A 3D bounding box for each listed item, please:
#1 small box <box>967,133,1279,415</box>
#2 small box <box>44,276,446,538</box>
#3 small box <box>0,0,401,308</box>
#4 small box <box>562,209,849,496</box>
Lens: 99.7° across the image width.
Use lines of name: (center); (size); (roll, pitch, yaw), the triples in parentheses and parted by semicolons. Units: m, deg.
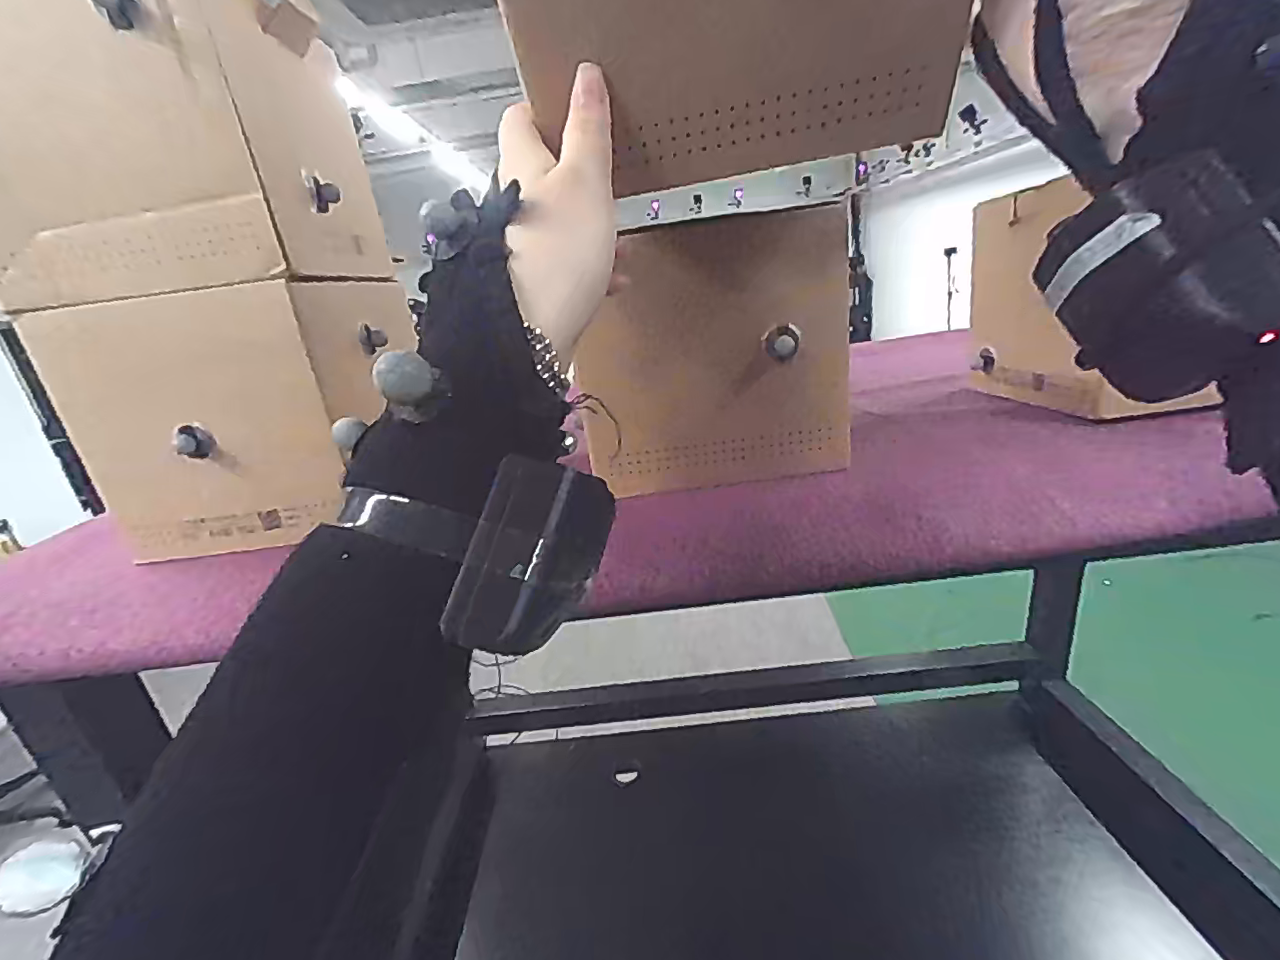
small box: (0.393, -0.152, 0.432); (0.179, 0.176, 0.168); (-7, 17, 4)
small box: (-0.271, -0.061, 0.428); (0.168, 0.176, 0.179); (-6, 19, 1)
small box: (-0.296, -0.212, 0.373); (0.179, 0.176, 0.168); (-7, 20, -1)
small box: (0.048, -0.099, 0.424); (0.179, 0.176, 0.168); (-8, 18, 1)
